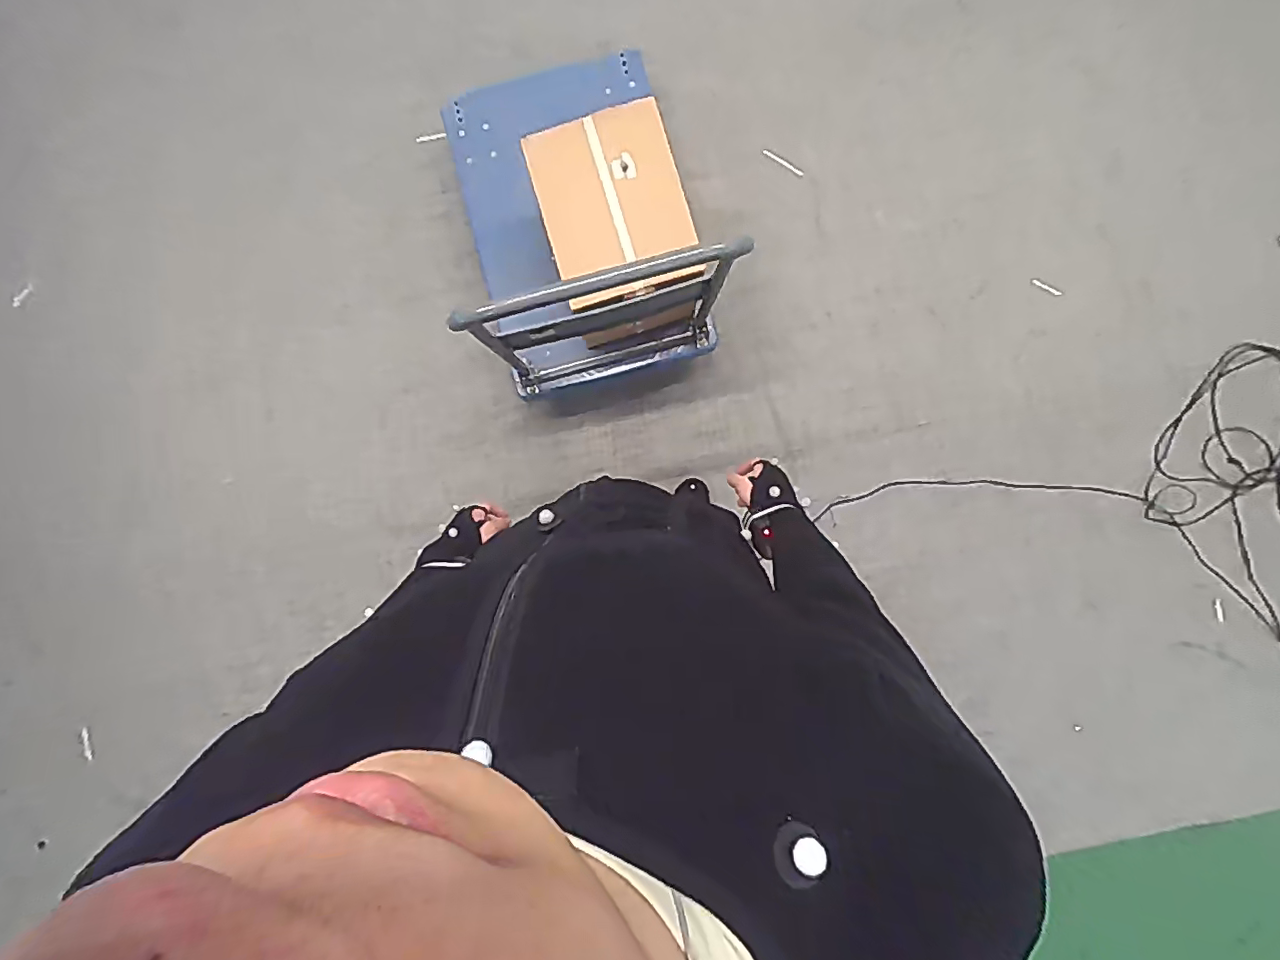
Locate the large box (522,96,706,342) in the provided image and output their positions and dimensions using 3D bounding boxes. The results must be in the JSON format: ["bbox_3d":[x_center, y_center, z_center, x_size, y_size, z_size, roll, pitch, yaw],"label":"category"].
[{"bbox_3d":[-0.053,-0.610,1.332,0.320,0.320,0.408,-17,88,0],"label":"large box"}]
